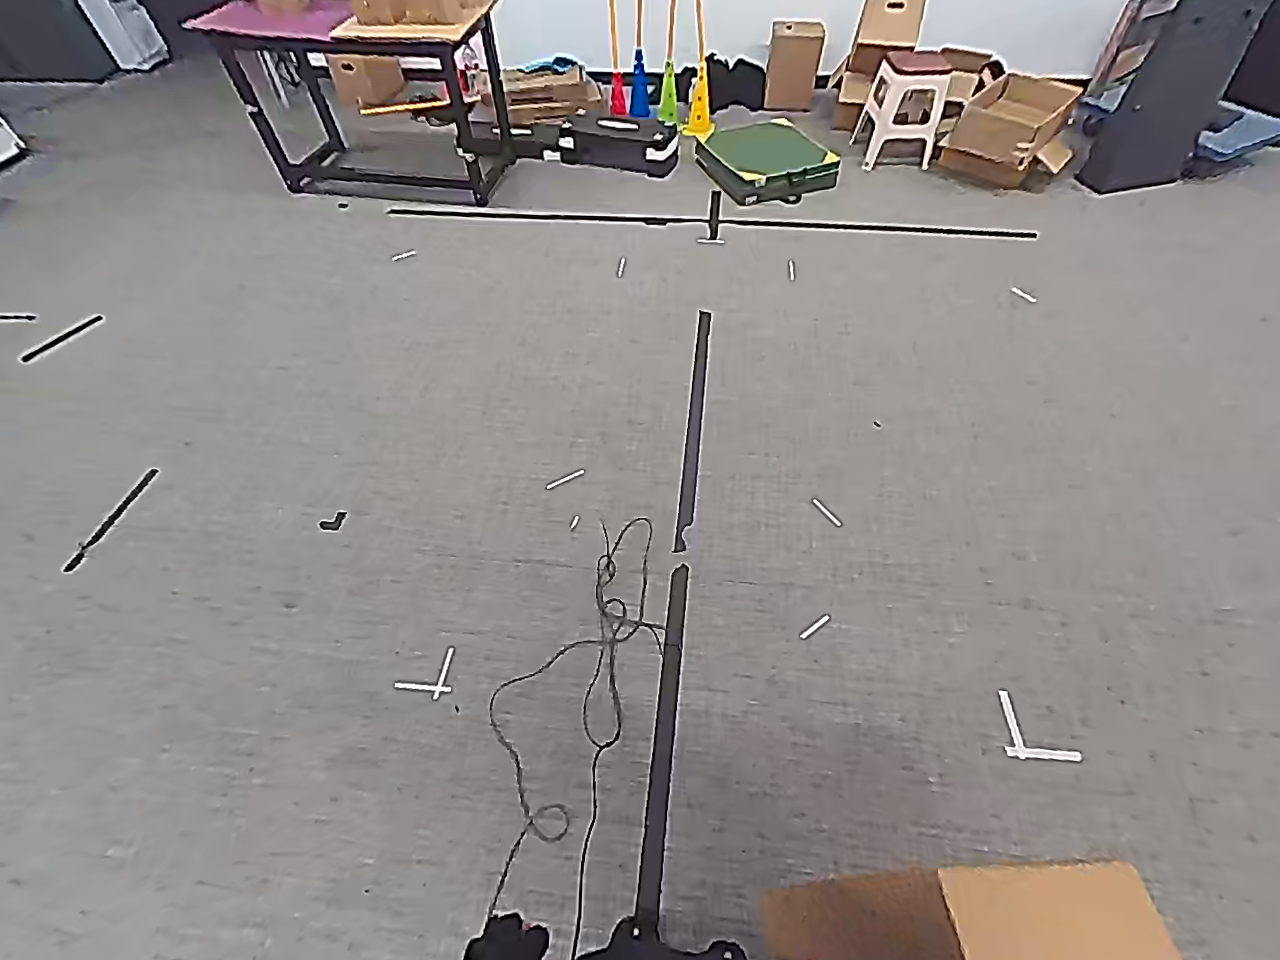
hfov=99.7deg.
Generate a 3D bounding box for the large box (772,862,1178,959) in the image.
[{"bbox_3d":[0.422,0.697,0.684,0.320,0.408,0.320,11,48,-13],"label":"large box"}]
